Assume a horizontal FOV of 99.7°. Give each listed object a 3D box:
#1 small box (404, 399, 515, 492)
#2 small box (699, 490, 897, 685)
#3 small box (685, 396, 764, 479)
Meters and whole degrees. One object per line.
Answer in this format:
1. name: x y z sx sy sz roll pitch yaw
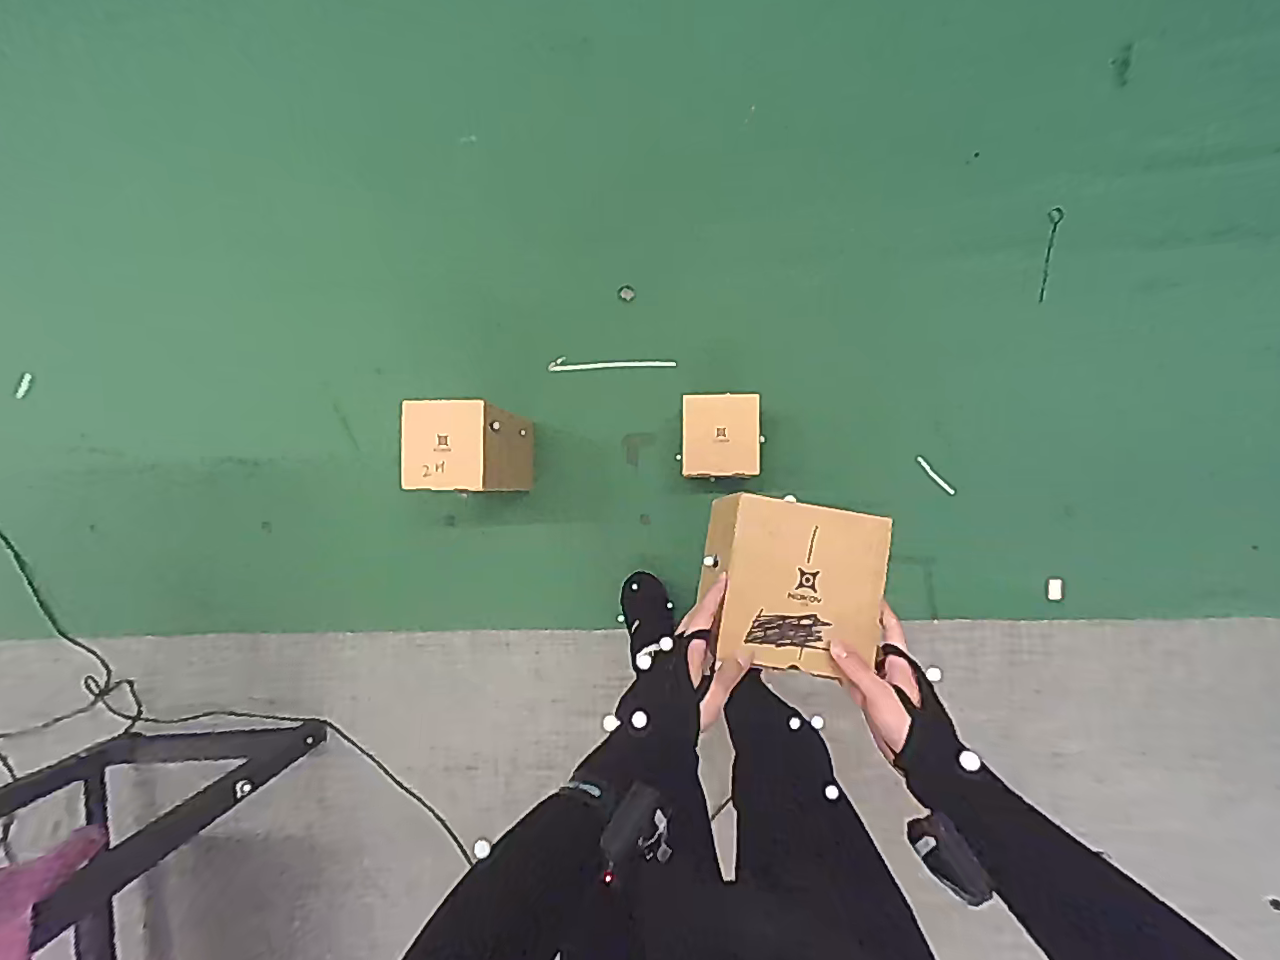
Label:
1. small box: -0.364 -0.065 1.118 0.168 0.176 0.179 1 89 6
2. small box: 0.170 0.117 0.633 0.168 0.176 0.179 11 84 -2
3. small box: 0.187 -0.091 1.239 0.168 0.176 0.179 0 90 4
